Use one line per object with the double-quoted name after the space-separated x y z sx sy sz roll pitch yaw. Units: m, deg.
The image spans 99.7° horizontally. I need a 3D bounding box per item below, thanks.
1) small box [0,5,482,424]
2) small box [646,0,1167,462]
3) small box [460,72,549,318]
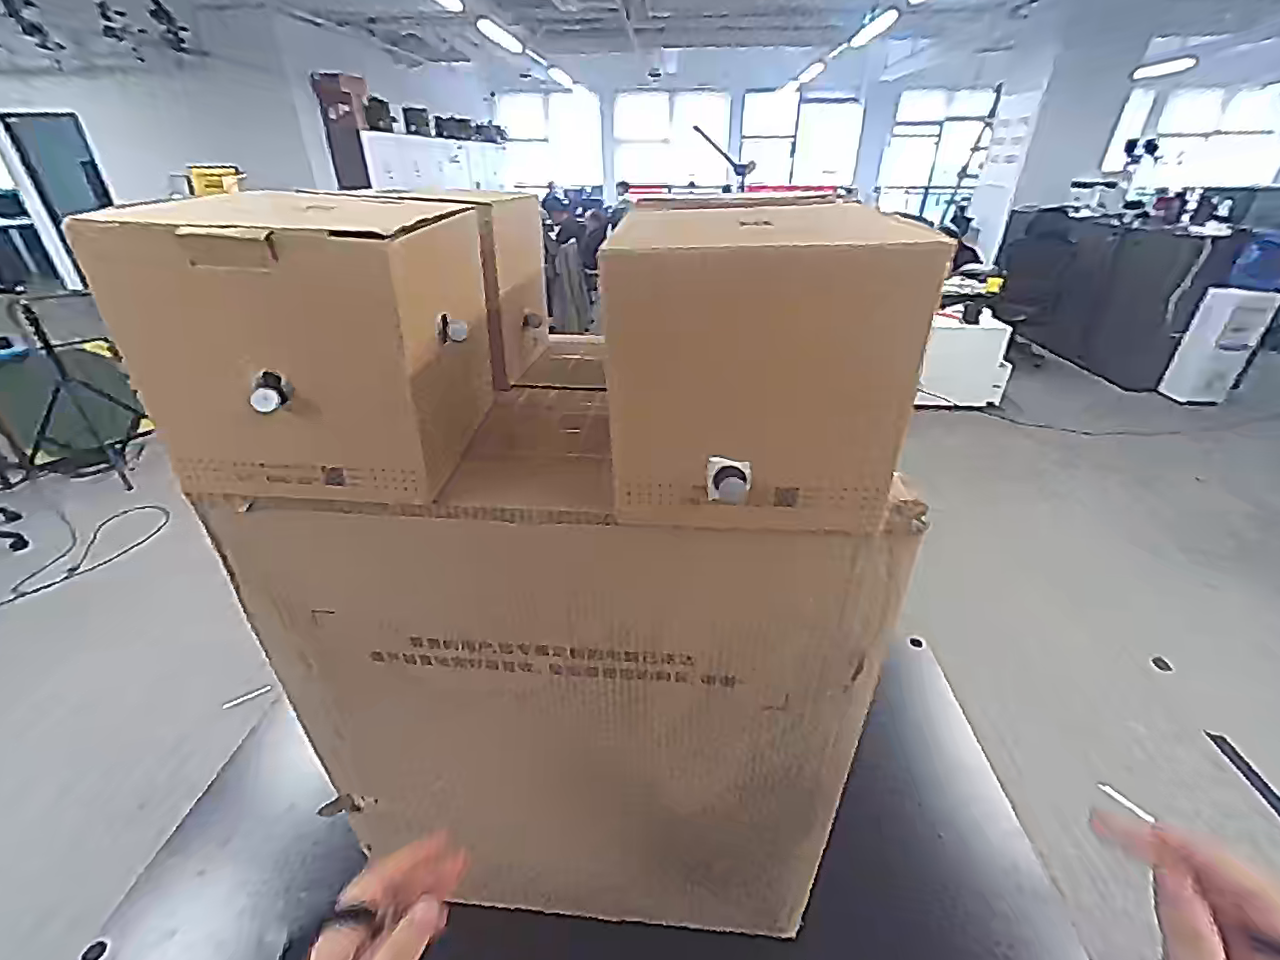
-0.194 -0.143 0.306 0.168 0.176 0.179 3 33 -2 "small box"
0.090 -0.124 0.285 0.168 0.176 0.179 0 33 4 "small box"
-0.187 -0.246 0.482 0.179 0.176 0.168 4 30 4 "small box"
